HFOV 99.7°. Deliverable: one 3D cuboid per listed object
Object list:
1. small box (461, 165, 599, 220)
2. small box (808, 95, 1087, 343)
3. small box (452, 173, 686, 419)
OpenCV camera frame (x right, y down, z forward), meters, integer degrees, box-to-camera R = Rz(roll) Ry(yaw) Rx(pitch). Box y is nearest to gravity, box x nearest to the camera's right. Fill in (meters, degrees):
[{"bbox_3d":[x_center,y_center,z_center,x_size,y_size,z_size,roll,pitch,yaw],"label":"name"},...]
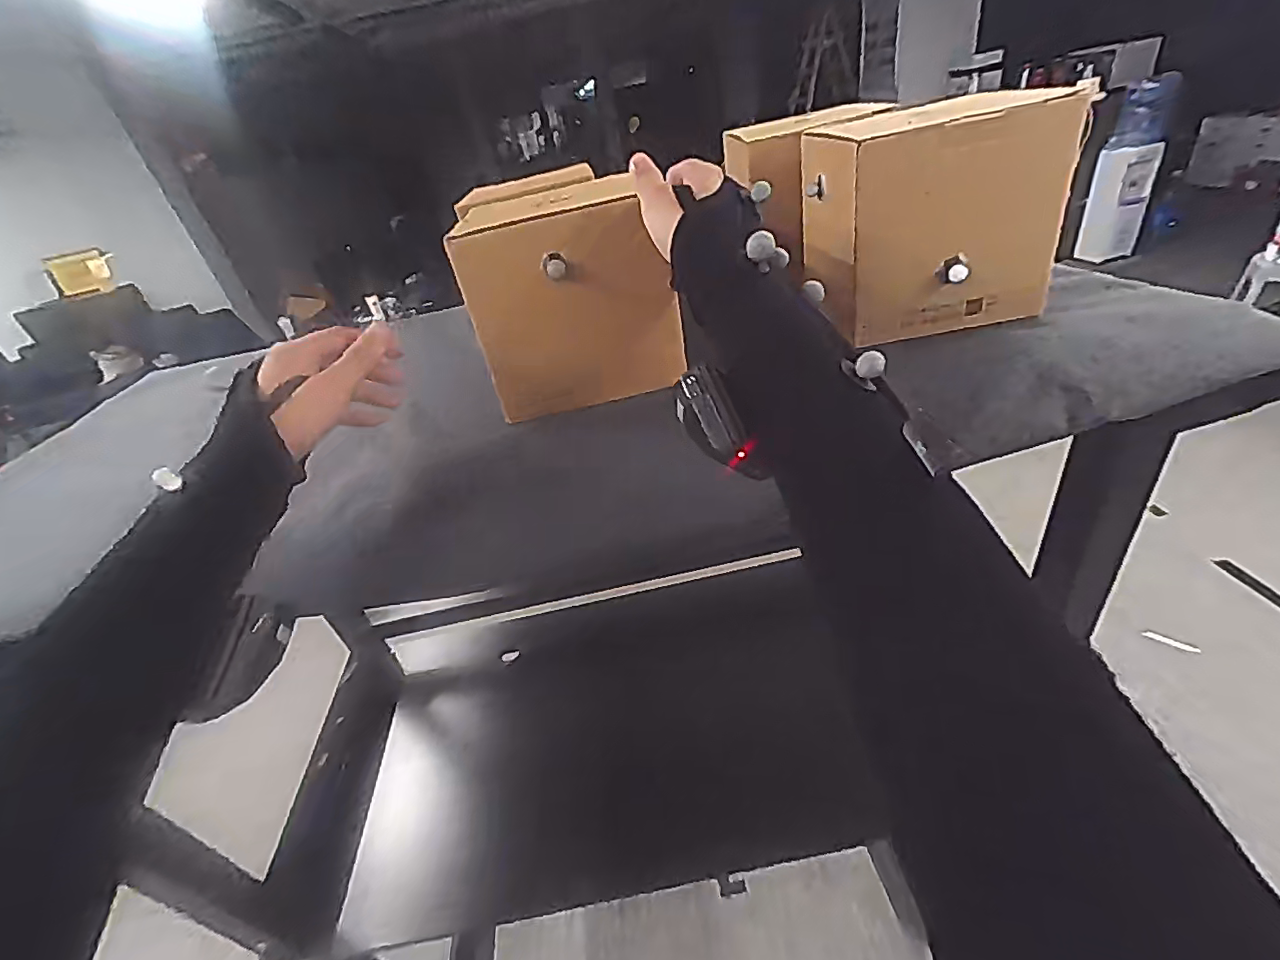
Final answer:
[{"bbox_3d":[-0.122,-0.312,0.733,0.168,0.176,0.179,-13,34,1],"label":"small box"},{"bbox_3d":[0.262,-0.247,0.515,0.168,0.176,0.179,-9,34,6],"label":"small box"},{"bbox_3d":[-0.056,-0.181,0.527,0.179,0.176,0.168,-13,34,0],"label":"small box"}]
